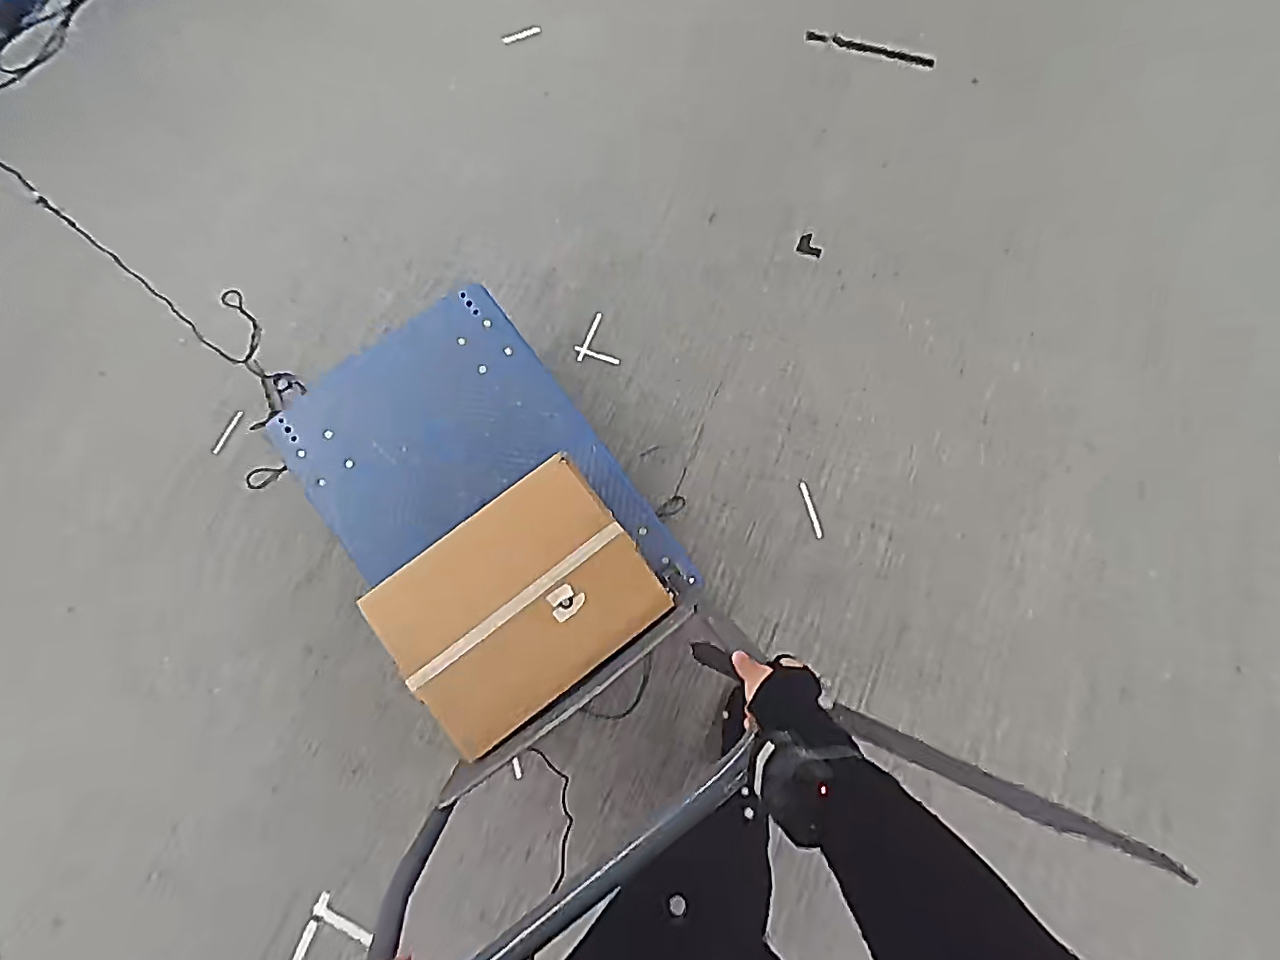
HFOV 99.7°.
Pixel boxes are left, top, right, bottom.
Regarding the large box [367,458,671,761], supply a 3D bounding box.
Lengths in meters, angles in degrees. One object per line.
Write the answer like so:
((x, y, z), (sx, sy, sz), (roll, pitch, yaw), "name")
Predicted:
((-0.199, 0.220, 1.018), (0.408, 0.320, 0.320), (-38, 87, -5), "large box")
